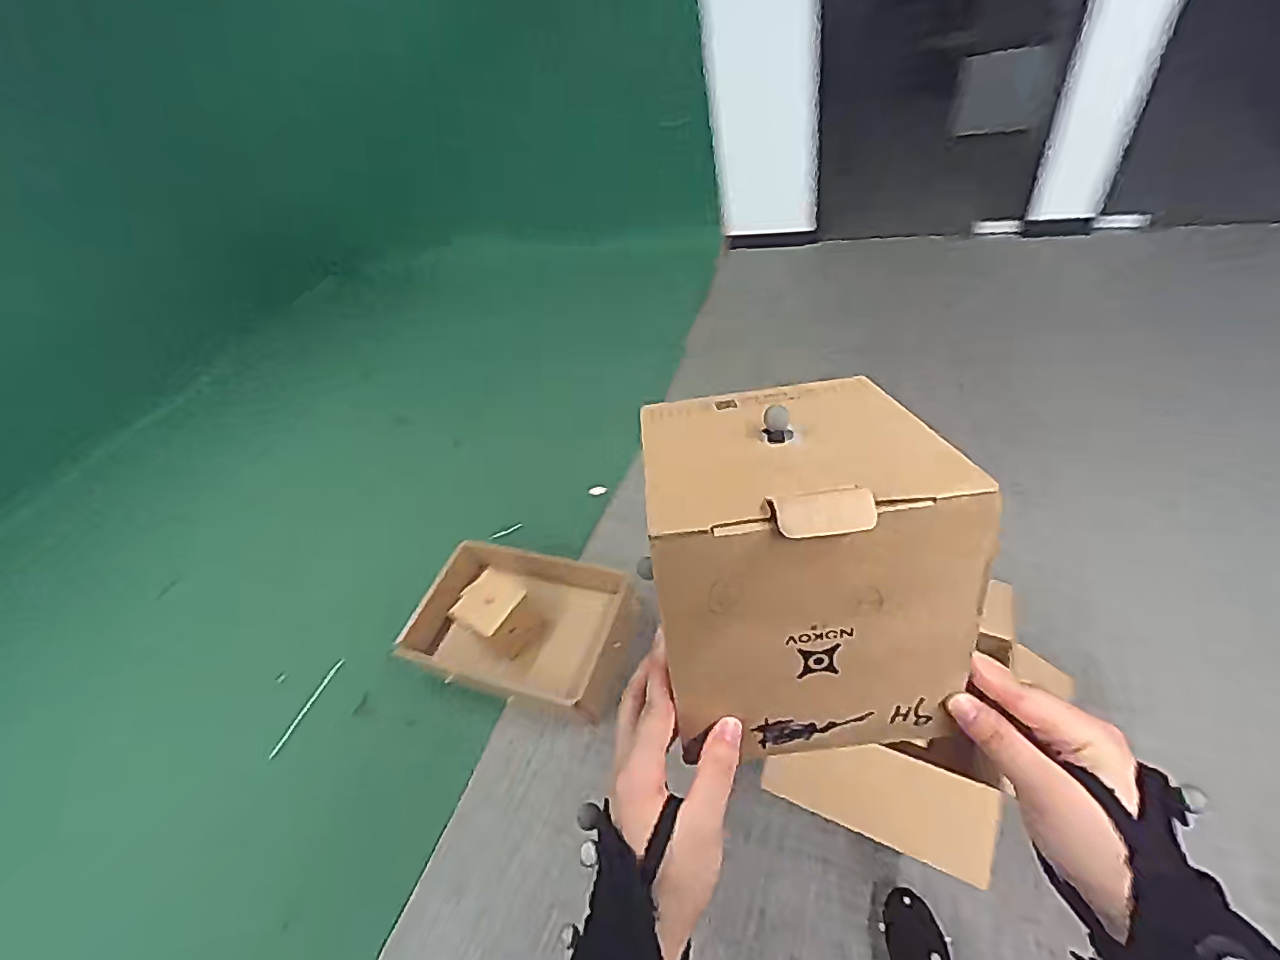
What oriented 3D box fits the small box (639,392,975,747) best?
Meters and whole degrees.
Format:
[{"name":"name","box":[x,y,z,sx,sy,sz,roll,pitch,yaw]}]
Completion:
[{"name":"small box","box":[0.094,0.048,0.379,0.168,0.179,0.176,-9,28,1]}]

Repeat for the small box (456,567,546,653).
[{"name":"small box","box":[-0.417,0.402,1.651,0.179,0.176,0.168,20,56,30]}]
